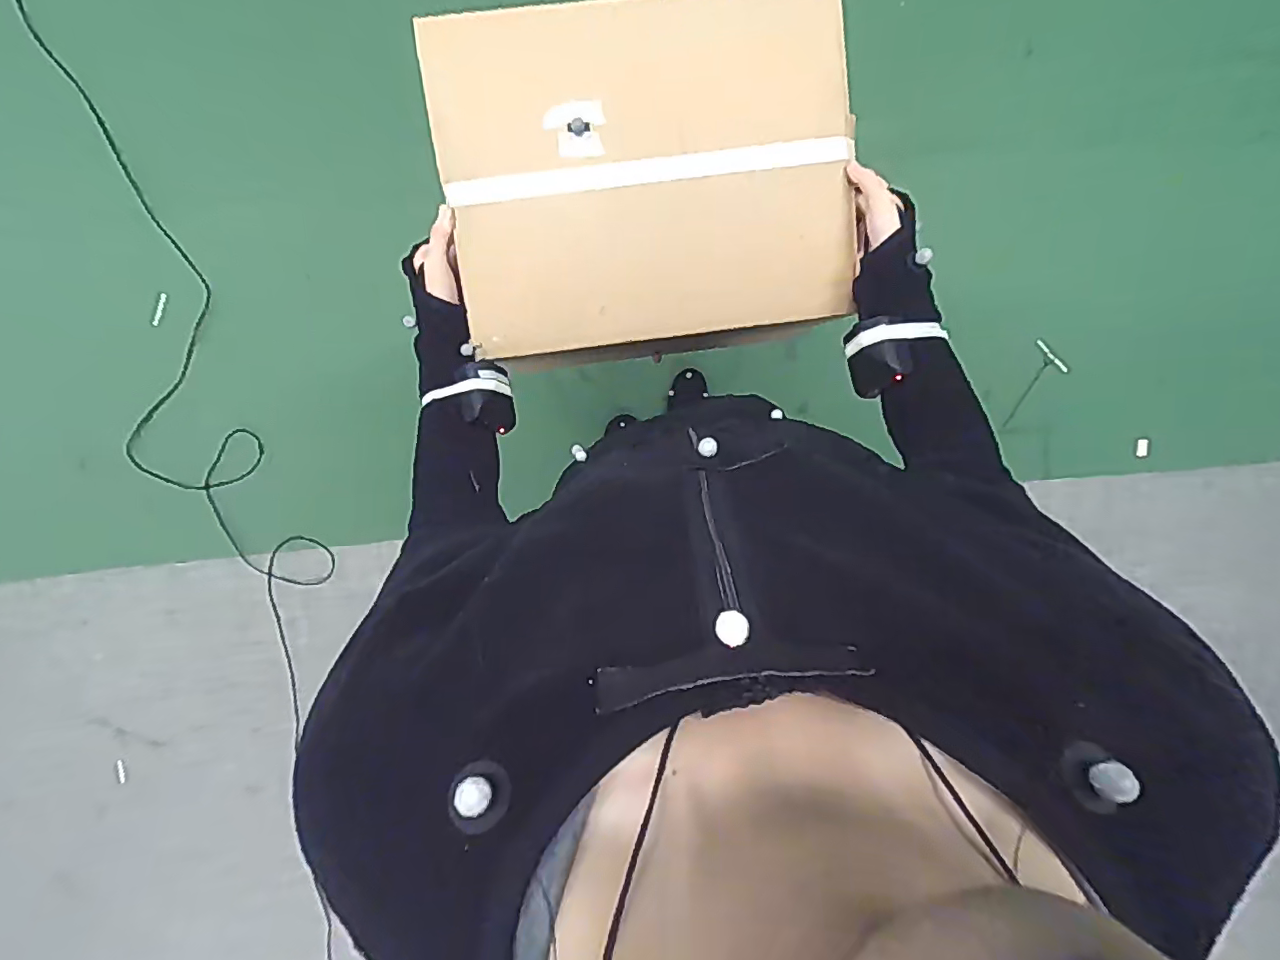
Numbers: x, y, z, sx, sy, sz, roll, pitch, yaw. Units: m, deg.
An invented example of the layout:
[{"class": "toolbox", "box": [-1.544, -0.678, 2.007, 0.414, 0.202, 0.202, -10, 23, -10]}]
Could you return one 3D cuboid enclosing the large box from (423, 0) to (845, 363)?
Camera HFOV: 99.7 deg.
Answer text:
[{"class": "large box", "box": [-0.001, -0.332, 0.694, 0.408, 0.320, 0.320, -7, 100, -2]}]
